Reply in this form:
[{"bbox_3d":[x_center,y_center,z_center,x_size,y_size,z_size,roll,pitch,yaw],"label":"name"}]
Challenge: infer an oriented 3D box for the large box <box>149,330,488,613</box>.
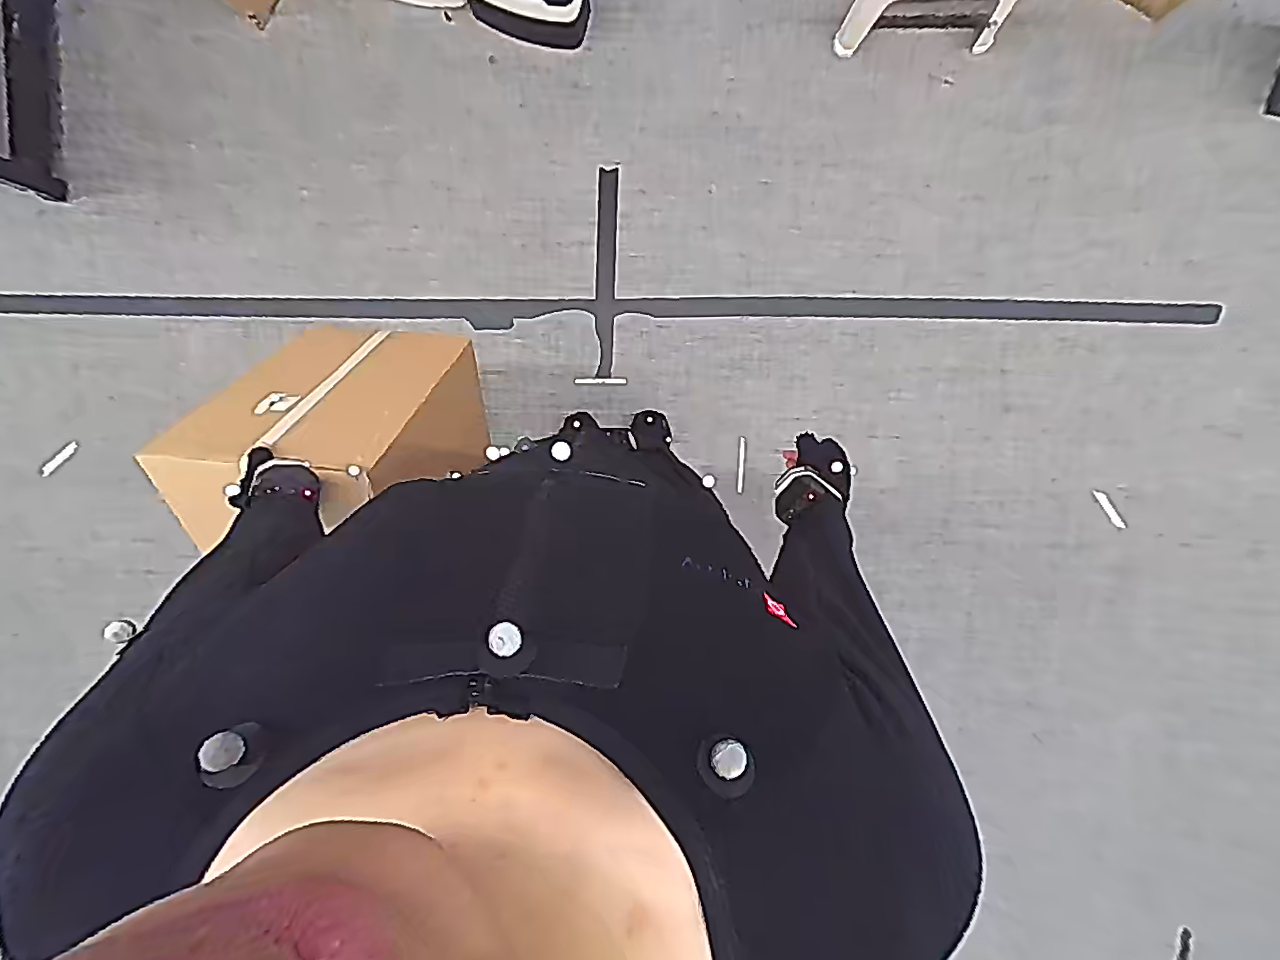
[{"bbox_3d":[-0.492,-0.030,0.954,0.320,0.408,0.320,4,130,4],"label":"large box"}]
